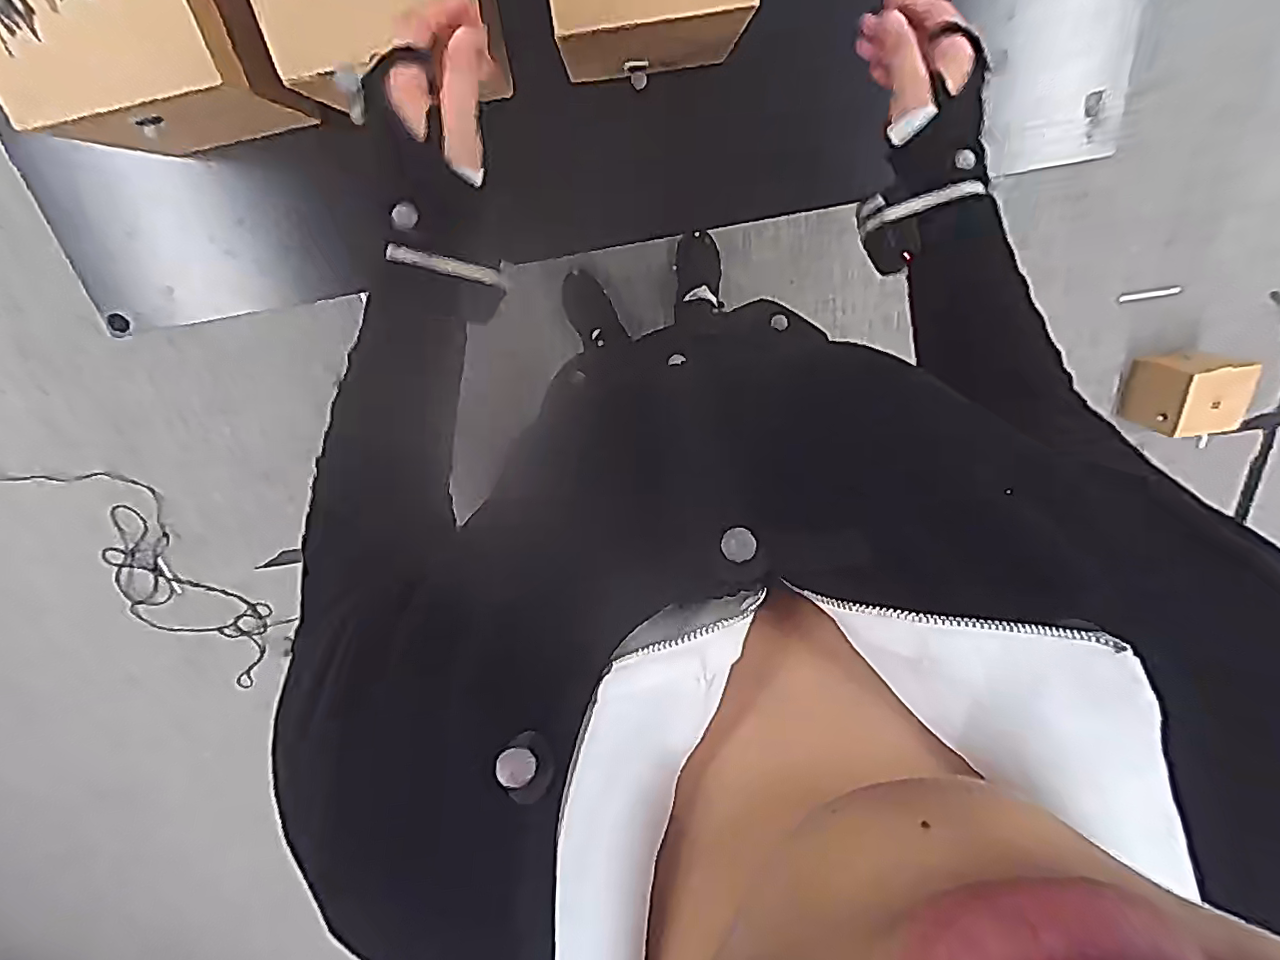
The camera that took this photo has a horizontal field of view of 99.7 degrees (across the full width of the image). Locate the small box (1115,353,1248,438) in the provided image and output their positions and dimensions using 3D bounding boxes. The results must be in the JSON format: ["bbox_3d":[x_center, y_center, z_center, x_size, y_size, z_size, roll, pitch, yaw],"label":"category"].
[{"bbox_3d":[1.436,-0.229,1.450,0.168,0.176,0.179,-8,115,1],"label":"small box"}]

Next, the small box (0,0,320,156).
[{"bbox_3d":[-0.436,-0.407,0.483,0.179,0.176,0.168,-12,115,2],"label":"small box"}]
